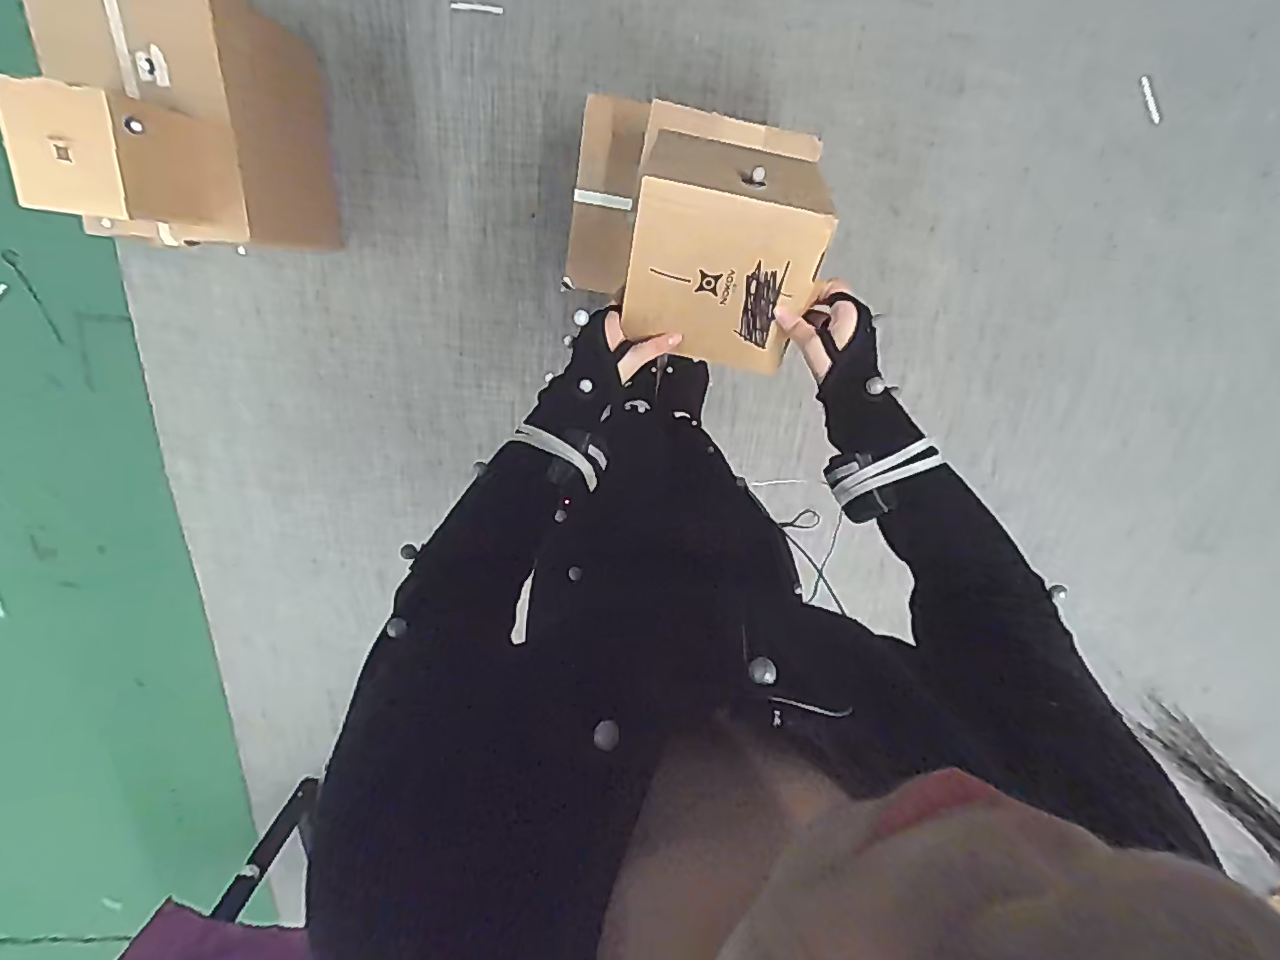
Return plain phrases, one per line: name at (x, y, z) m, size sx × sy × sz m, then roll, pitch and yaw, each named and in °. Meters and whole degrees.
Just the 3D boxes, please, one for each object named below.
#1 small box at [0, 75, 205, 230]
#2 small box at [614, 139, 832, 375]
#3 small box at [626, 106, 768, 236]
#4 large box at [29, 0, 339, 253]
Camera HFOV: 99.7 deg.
small box at (-0.851, -0.513, 0.873) m, size 0.168 × 0.176 × 0.179 m, roll 7°, pitch 109°, yaw -2°
small box at (0.081, -0.241, 0.580) m, size 0.179 × 0.176 × 0.168 m, roll 12°, pitch 135°, yaw -1°
small box at (0.083, -0.460, 0.869) m, size 0.179 × 0.176 × 0.168 m, roll 13°, pitch 107°, yaw -3°
large box at (-0.853, -0.680, 1.073) m, size 0.320 × 0.320 × 0.408 m, roll 4°, pitch 110°, yaw 0°
